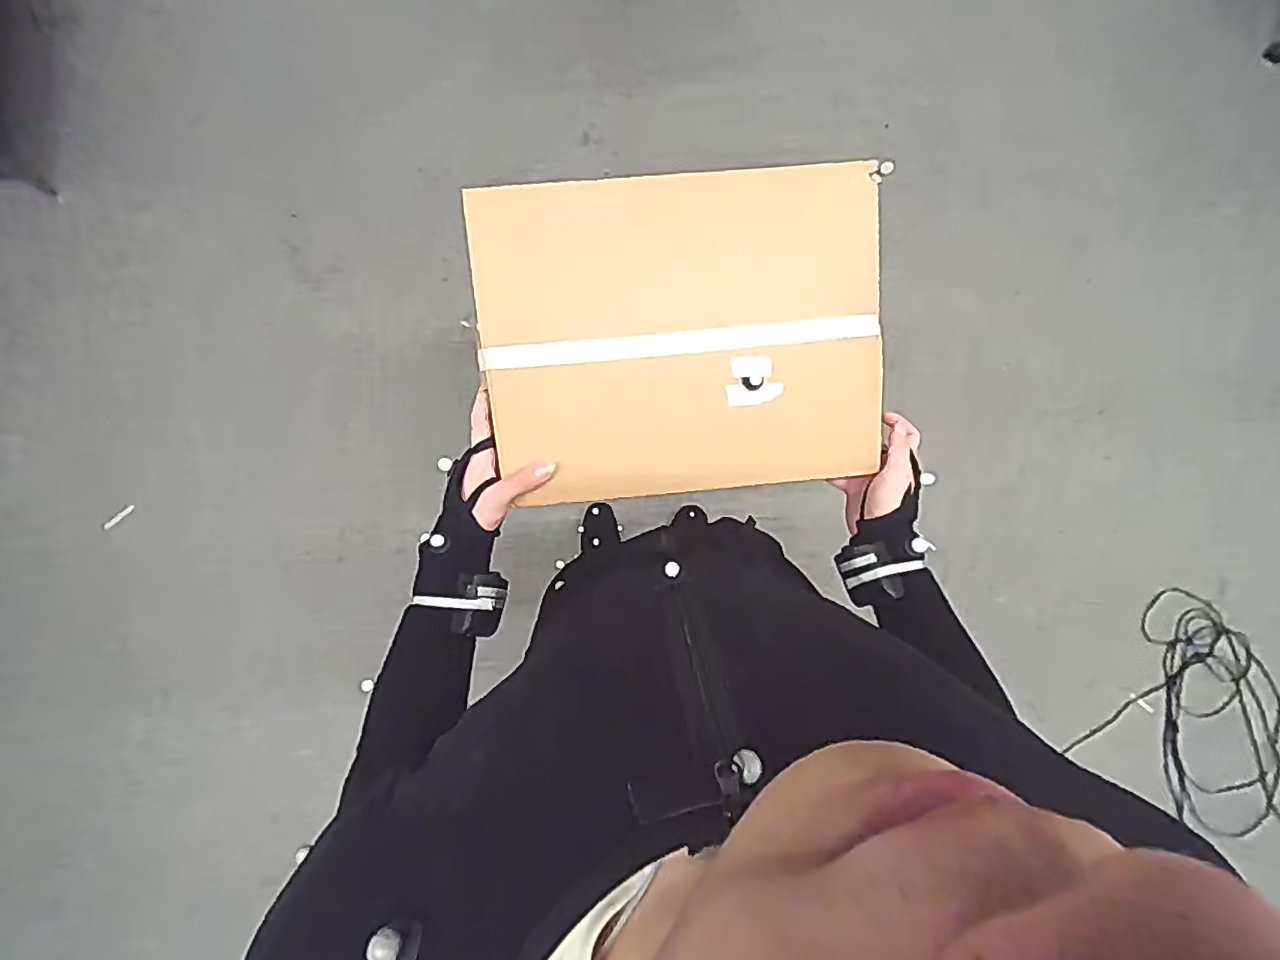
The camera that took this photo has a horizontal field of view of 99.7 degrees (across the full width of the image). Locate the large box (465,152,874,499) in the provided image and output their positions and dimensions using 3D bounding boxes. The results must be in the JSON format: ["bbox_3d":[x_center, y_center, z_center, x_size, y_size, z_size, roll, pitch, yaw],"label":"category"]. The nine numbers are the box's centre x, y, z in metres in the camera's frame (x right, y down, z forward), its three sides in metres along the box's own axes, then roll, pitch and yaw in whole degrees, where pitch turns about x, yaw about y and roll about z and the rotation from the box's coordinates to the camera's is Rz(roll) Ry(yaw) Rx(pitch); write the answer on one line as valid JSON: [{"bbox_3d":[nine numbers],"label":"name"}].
[{"bbox_3d":[0.032,-0.178,0.701,0.408,0.320,0.320,-7,101,-3],"label":"large box"}]
